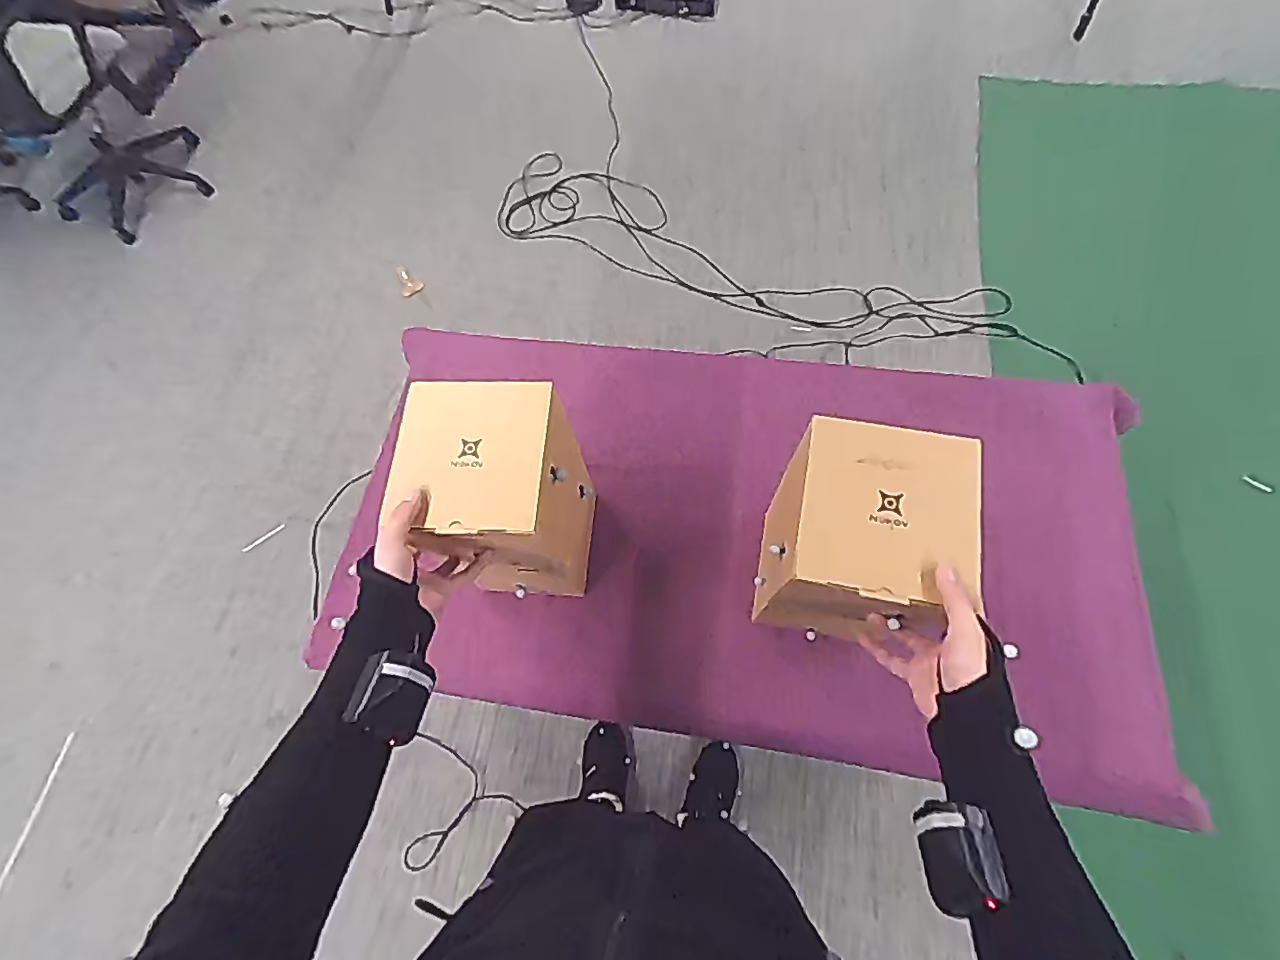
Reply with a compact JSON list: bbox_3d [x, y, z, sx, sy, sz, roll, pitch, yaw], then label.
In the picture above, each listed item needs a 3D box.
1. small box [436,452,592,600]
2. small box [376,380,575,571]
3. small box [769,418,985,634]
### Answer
[{"bbox_3d":[-0.168,0.066,0.788,0.168,0.176,0.179,3,68,6],"label":"small box"},{"bbox_3d":[-0.175,0.001,0.639,0.168,0.176,0.179,1,69,4],"label":"small box"},{"bbox_3d":[0.241,0.059,0.583,0.168,0.176,0.179,11,70,8],"label":"small box"}]
